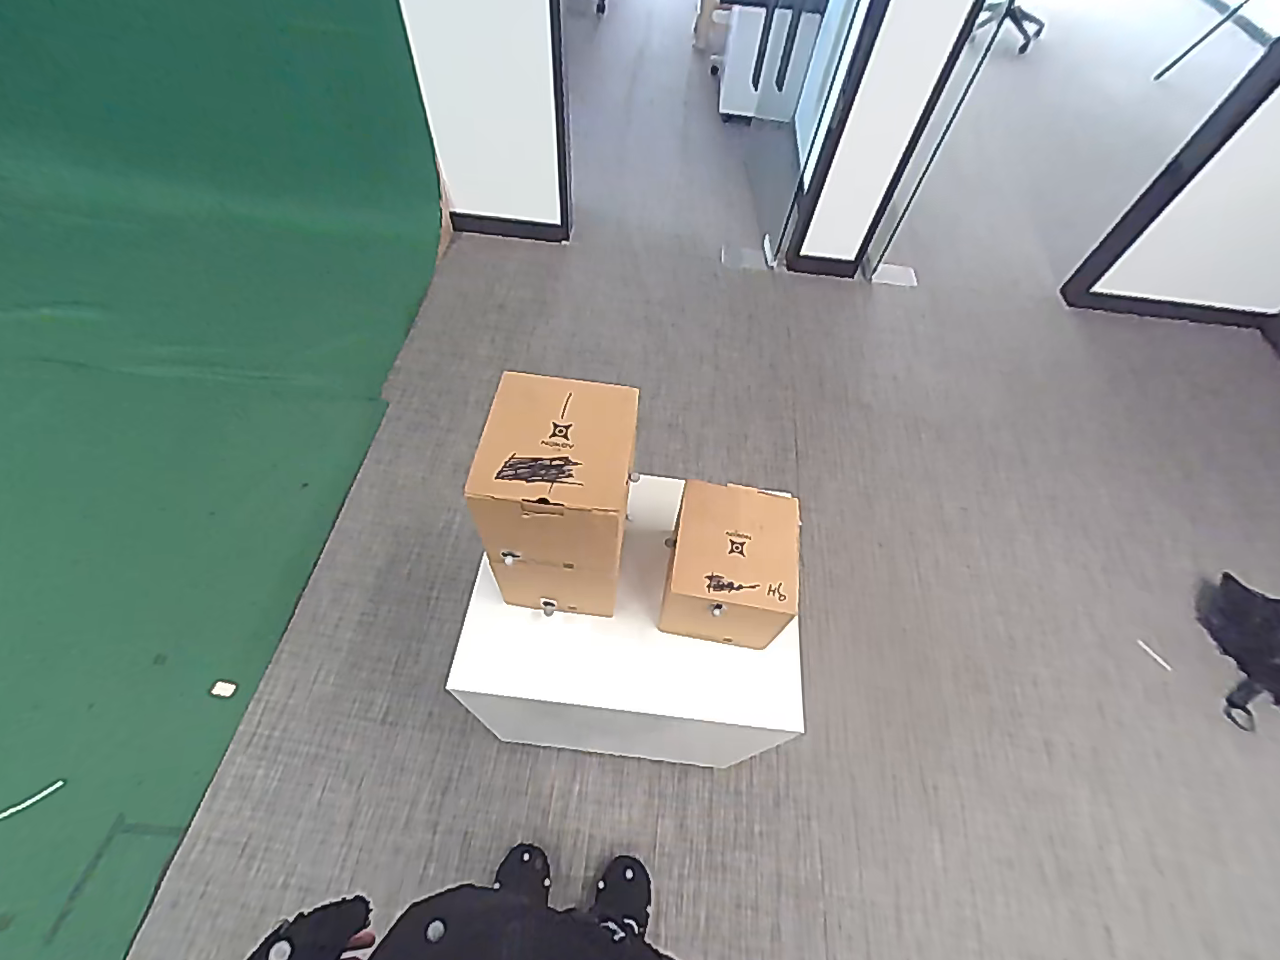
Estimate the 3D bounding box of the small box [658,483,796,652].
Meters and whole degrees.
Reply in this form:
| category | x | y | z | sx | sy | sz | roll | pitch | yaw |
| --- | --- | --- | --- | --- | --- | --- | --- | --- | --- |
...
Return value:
| category | x | y | z | sx | sy | sz | roll | pitch | yaw |
| --- | --- | --- | --- | --- | --- | --- | --- | --- | --- |
| small box | 0.124 | 0.132 | 0.799 | 0.168 | 0.176 | 0.179 | 10 | 57 | 2 |

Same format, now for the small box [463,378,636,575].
| category | x | y | z | sx | sy | sz | roll | pitch | yaw |
| --- | --- | --- | --- | --- | --- | --- | --- | --- | --- |
| small box | -0.099 | 0.002 | 0.672 | 0.168 | 0.176 | 0.179 | 7 | 56 | 0 |

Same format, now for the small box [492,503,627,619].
| category | x | y | z | sx | sy | sz | roll | pitch | yaw |
| --- | --- | --- | --- | --- | --- | --- | --- | --- | --- |
| small box | -0.109 | 0.092 | 0.809 | 0.168 | 0.176 | 0.179 | 5 | 58 | 0 |
